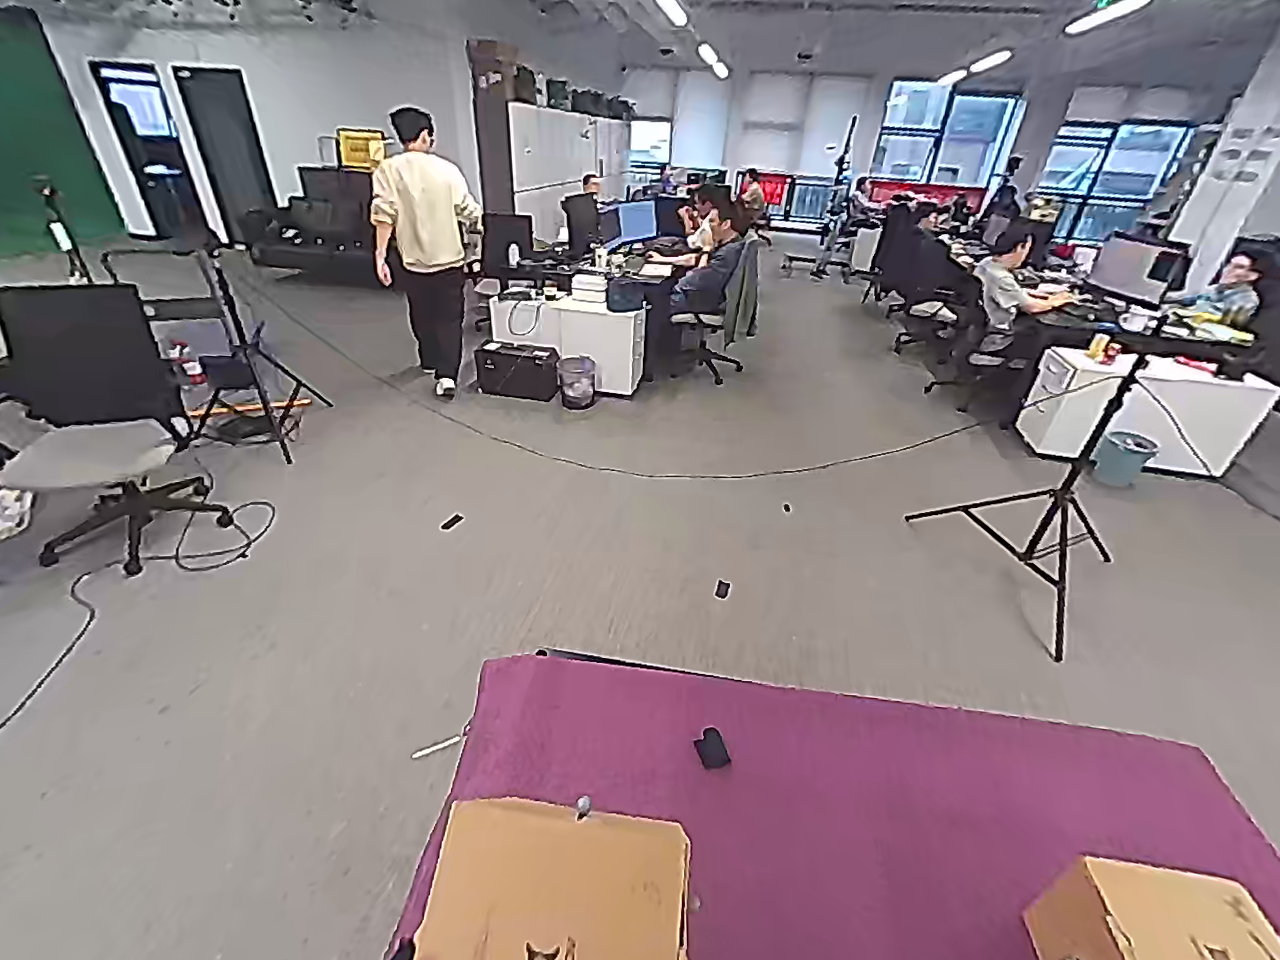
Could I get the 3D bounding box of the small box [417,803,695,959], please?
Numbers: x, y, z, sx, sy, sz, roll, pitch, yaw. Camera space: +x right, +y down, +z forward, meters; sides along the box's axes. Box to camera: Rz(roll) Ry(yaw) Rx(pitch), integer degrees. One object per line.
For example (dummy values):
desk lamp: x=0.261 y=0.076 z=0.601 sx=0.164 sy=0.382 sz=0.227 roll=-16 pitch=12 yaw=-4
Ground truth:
small box: x=-0.054 y=0.350 z=0.410 sx=0.179 sy=0.176 sz=0.168 roll=4 pitch=59 yaw=5

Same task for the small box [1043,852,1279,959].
small box: x=0.592 y=0.555 z=0.600 sx=0.179 sy=0.176 sz=0.168 roll=5 pitch=32 yaw=6
